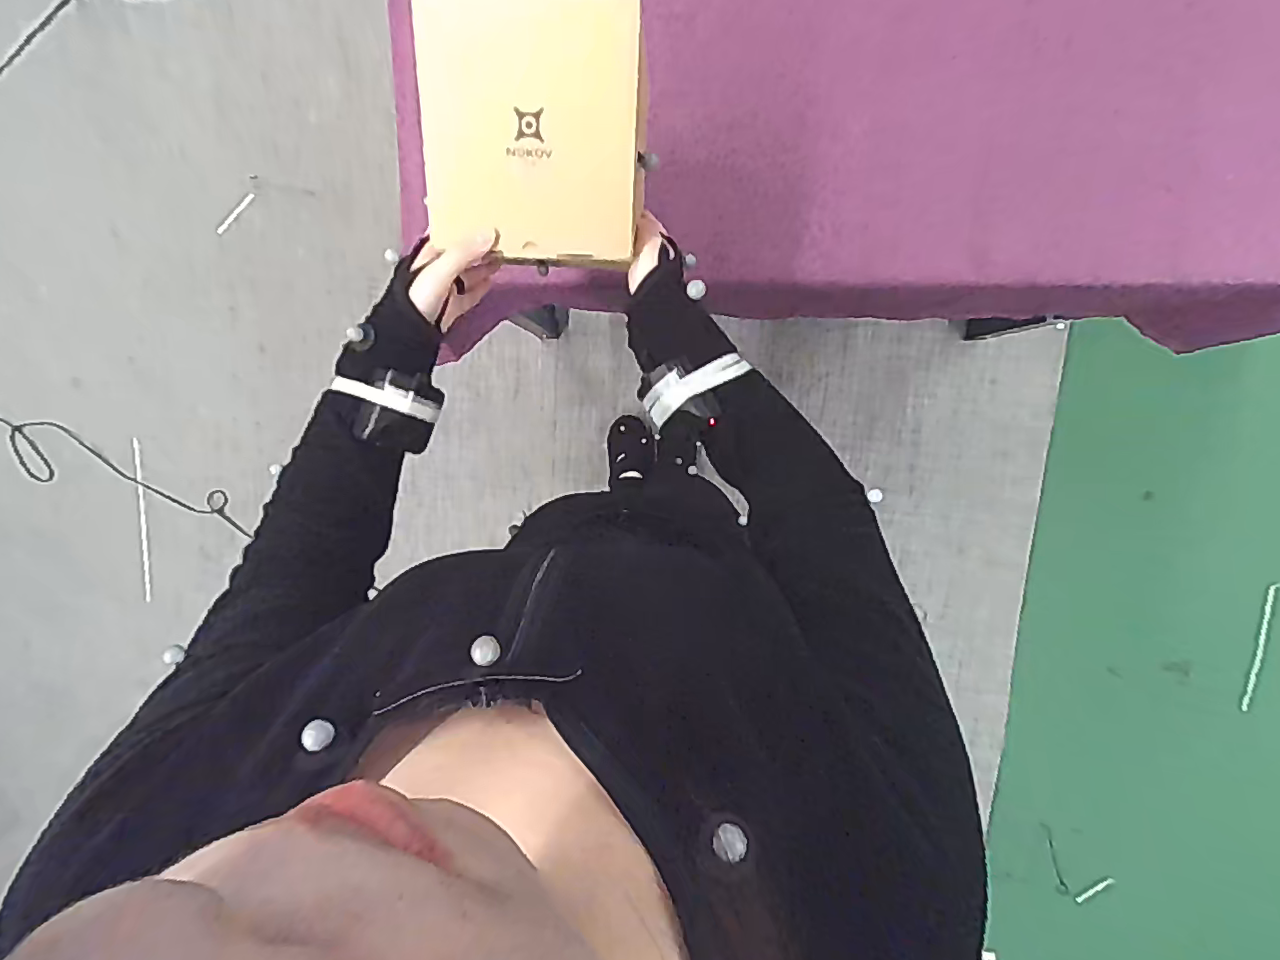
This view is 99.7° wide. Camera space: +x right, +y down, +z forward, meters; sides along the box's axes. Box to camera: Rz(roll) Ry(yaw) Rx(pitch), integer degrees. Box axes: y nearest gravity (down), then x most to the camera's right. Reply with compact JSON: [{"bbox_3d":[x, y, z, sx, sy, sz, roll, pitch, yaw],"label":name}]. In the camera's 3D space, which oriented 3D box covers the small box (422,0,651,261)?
[{"bbox_3d":[-0.077,-0.297,0.486,0.168,0.176,0.179,3,111,1],"label":"small box"}]
